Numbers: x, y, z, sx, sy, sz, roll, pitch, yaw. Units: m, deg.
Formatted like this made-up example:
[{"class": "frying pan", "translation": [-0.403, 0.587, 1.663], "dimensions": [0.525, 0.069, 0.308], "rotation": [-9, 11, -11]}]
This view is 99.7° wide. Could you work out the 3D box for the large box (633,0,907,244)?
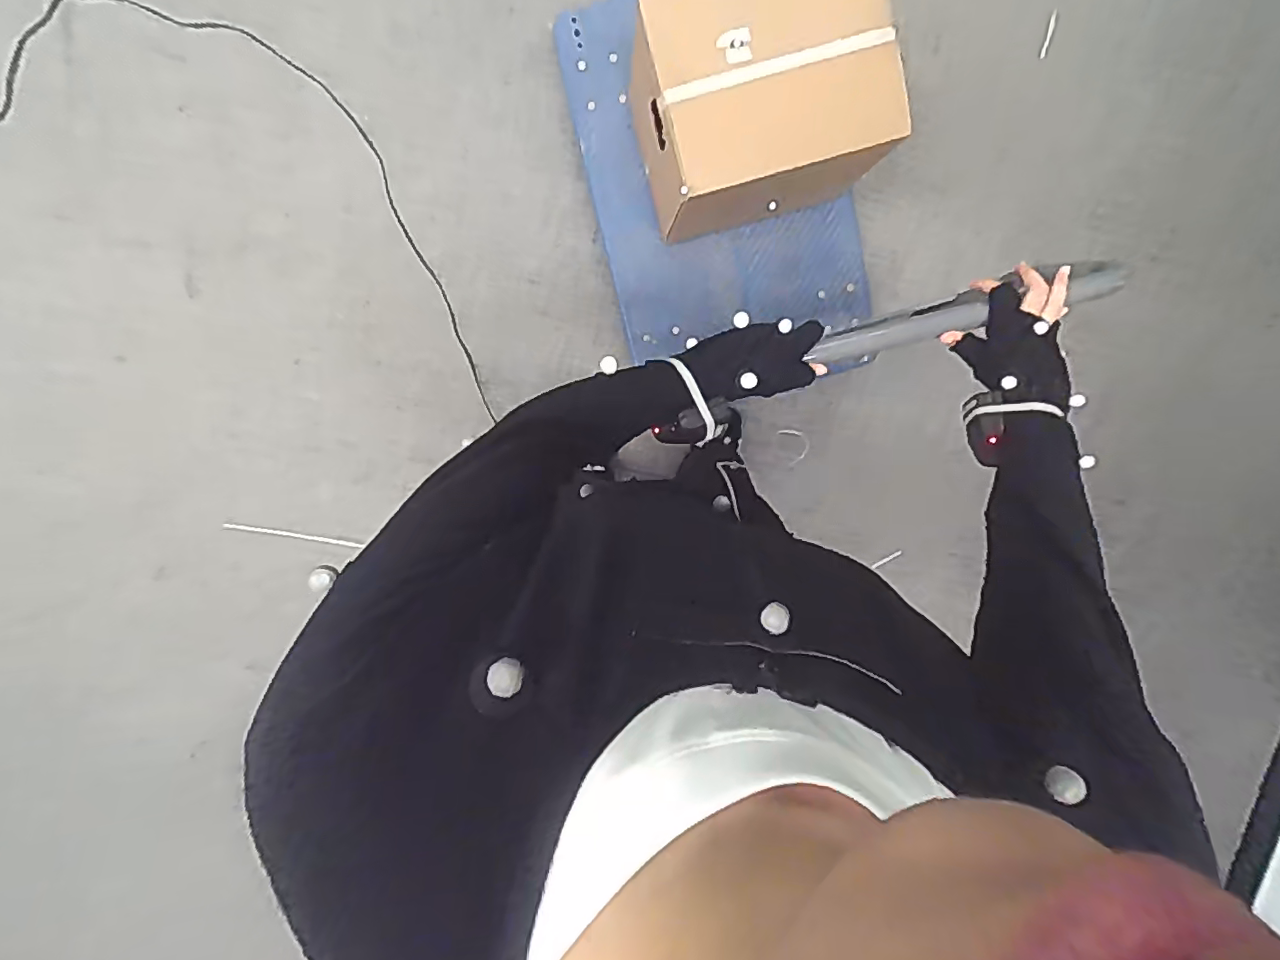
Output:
[{"class": "large box", "translation": [0.223, -0.706, 1.050], "dimensions": [0.408, 0.320, 0.320], "rotation": [-17, 99, 0]}]
